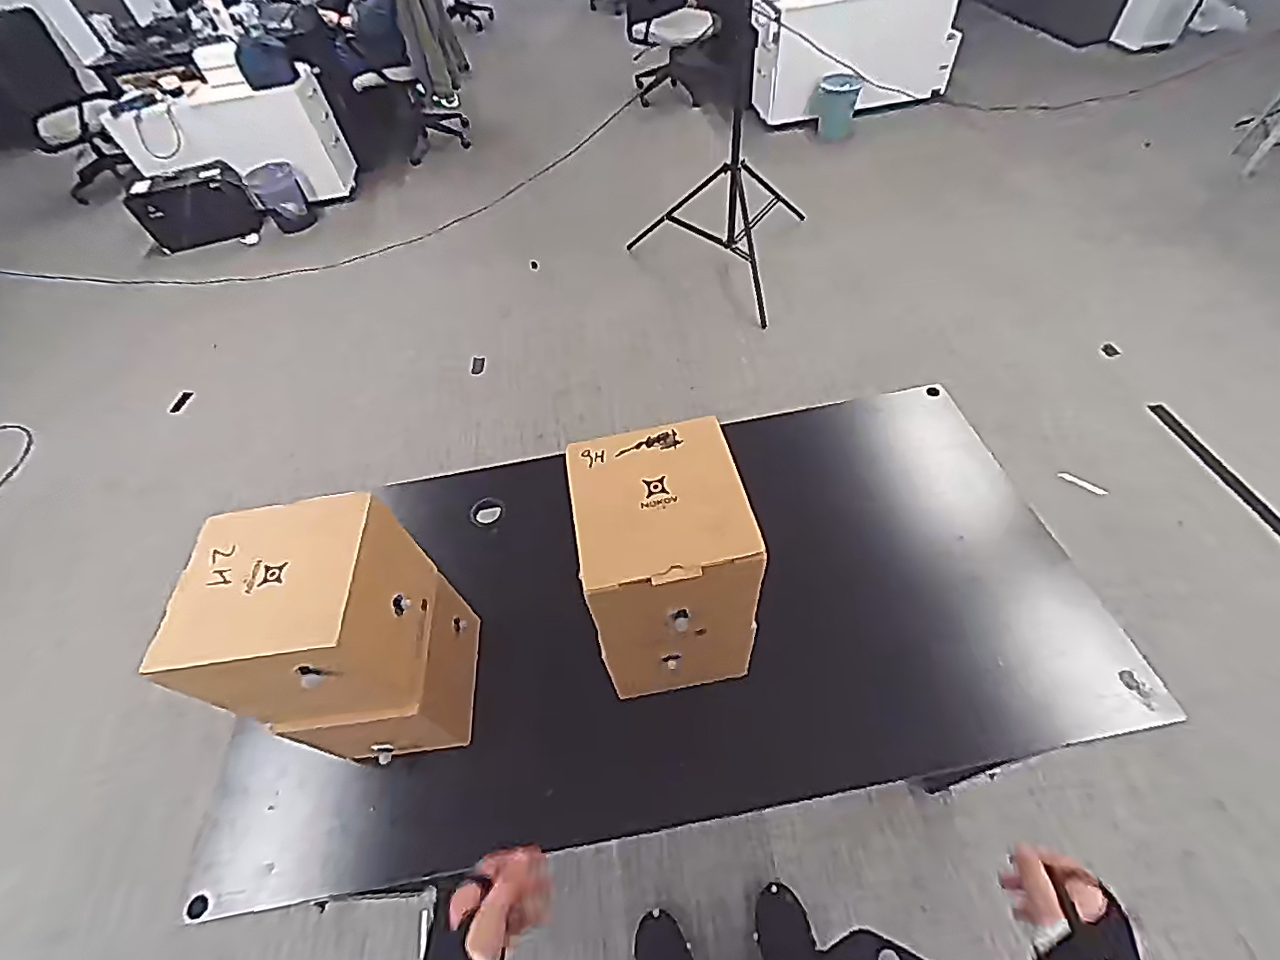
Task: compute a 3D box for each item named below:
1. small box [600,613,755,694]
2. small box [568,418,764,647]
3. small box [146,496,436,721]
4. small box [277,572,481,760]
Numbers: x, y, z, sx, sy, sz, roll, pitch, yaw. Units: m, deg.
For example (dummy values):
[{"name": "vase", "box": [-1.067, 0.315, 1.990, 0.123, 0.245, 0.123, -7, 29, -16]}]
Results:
[{"name": "small box", "box": [0.041, 0.166, 0.710, 0.179, 0.176, 0.168, -10, 53, -2]}, {"name": "small box", "box": [0.026, 0.065, 0.582, 0.168, 0.176, 0.179, -11, 54, -2]}, {"name": "small box", "box": [-0.335, 0.139, 0.568, 0.179, 0.176, 0.168, -9, 52, 1]}, {"name": "small box", "box": [-0.313, 0.242, 0.696, 0.168, 0.176, 0.179, -9, 54, 1]}]
